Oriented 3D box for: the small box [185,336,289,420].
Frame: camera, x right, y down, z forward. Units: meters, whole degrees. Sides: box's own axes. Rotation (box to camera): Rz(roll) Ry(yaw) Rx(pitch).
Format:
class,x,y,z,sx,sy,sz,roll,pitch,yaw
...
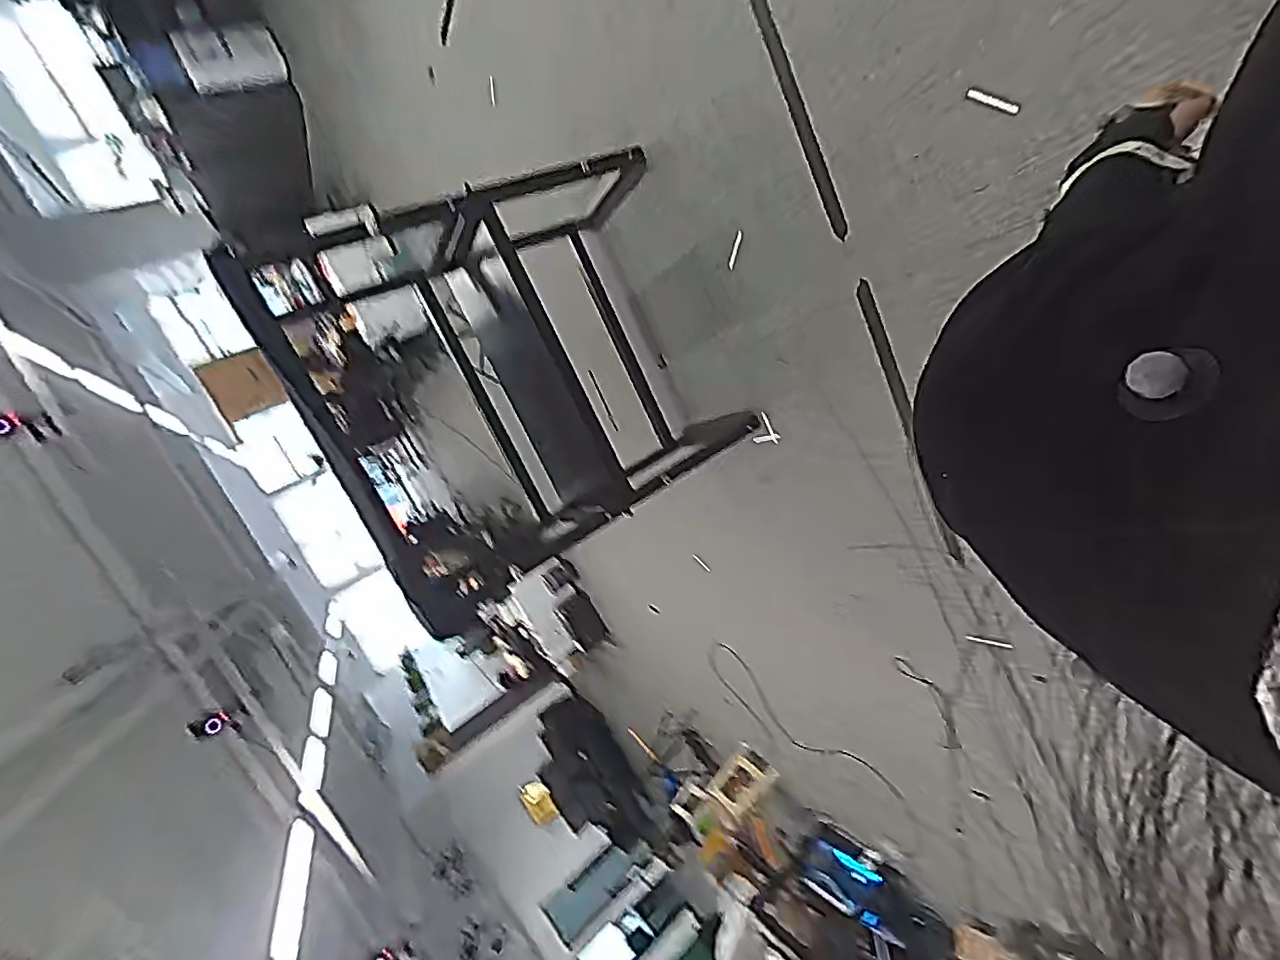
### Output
class,x,y,z,sx,sy,sz,roll,pitch,yaw
small box,-1.112,-0.282,1.511,0.179,0.176,0.168,-2,117,62
